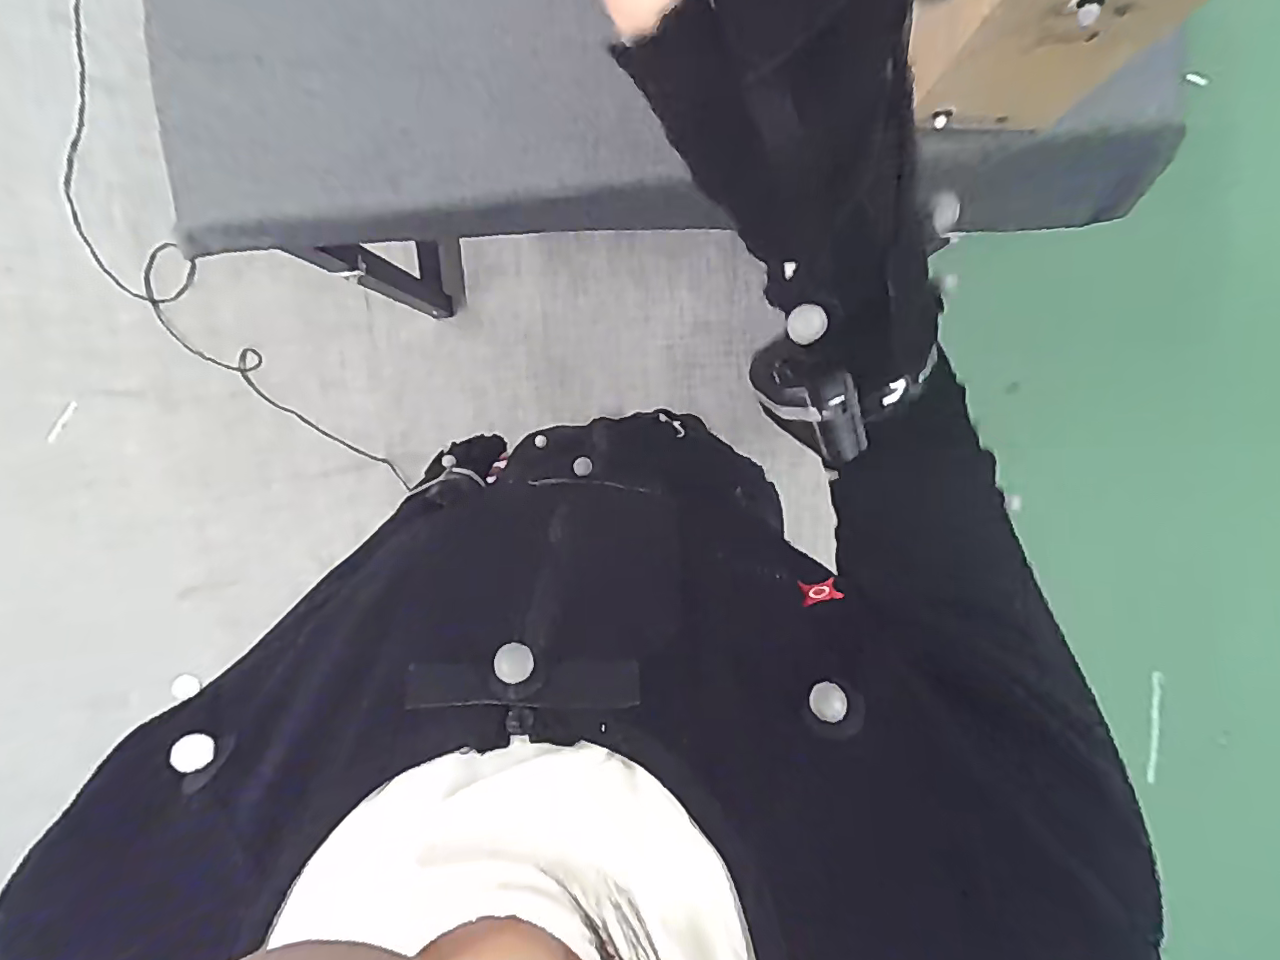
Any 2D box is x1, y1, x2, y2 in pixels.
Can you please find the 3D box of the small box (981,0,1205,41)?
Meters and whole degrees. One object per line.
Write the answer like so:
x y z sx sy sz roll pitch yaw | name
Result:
0.381 -0.471 0.390 0.168 0.176 0.179 4 97 3 | small box

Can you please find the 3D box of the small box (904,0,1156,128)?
0.390 -0.492 0.549 0.168 0.176 0.179 4 95 2 | small box
